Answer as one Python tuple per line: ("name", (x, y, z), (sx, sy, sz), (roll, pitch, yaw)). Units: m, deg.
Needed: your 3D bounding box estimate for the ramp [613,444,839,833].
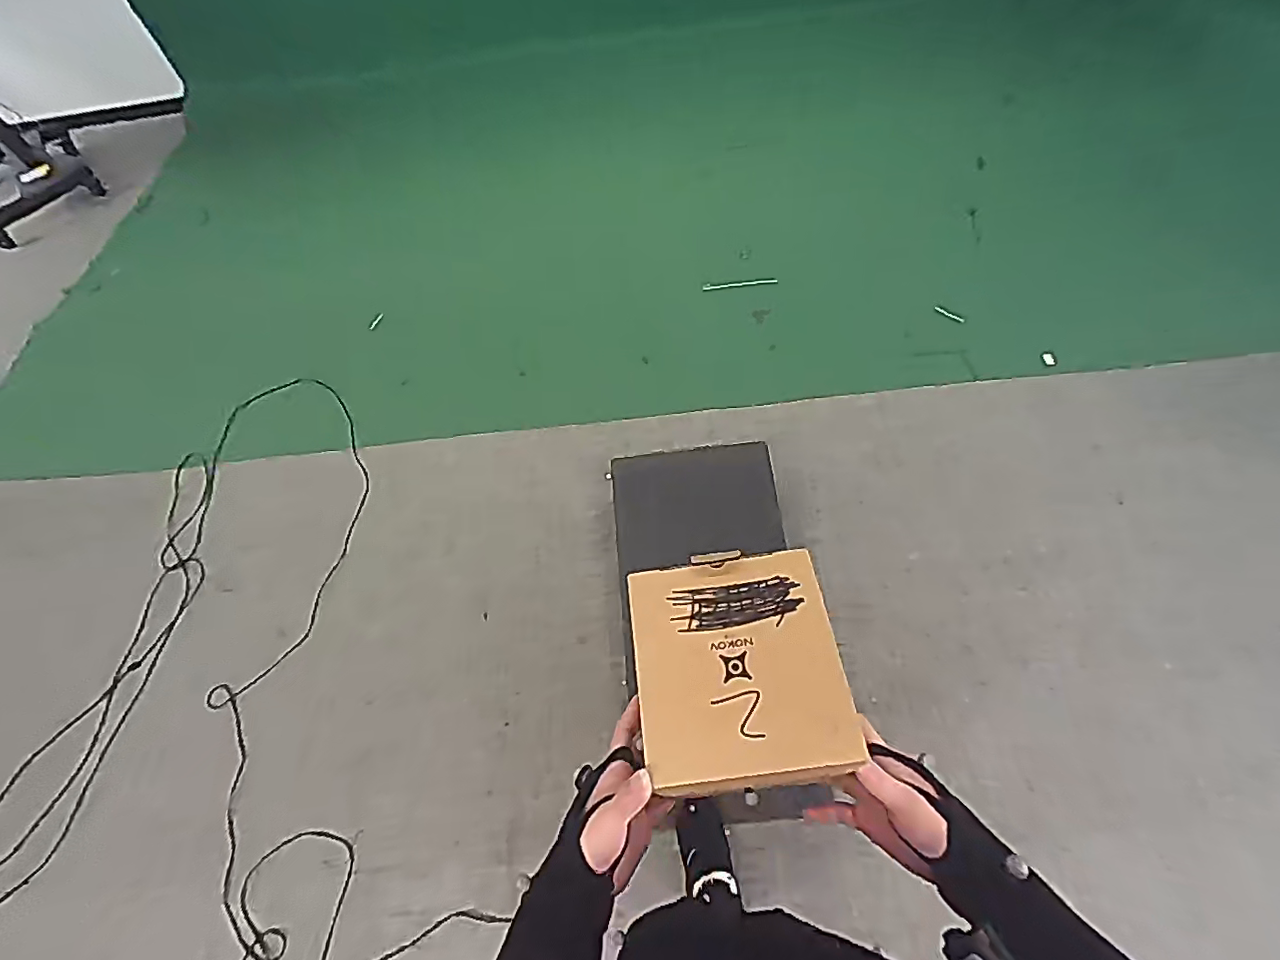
("ramp", (0.201, 0.378, 1.496), (0.509, 0.206, 0.991), (-7, 59, 1))
